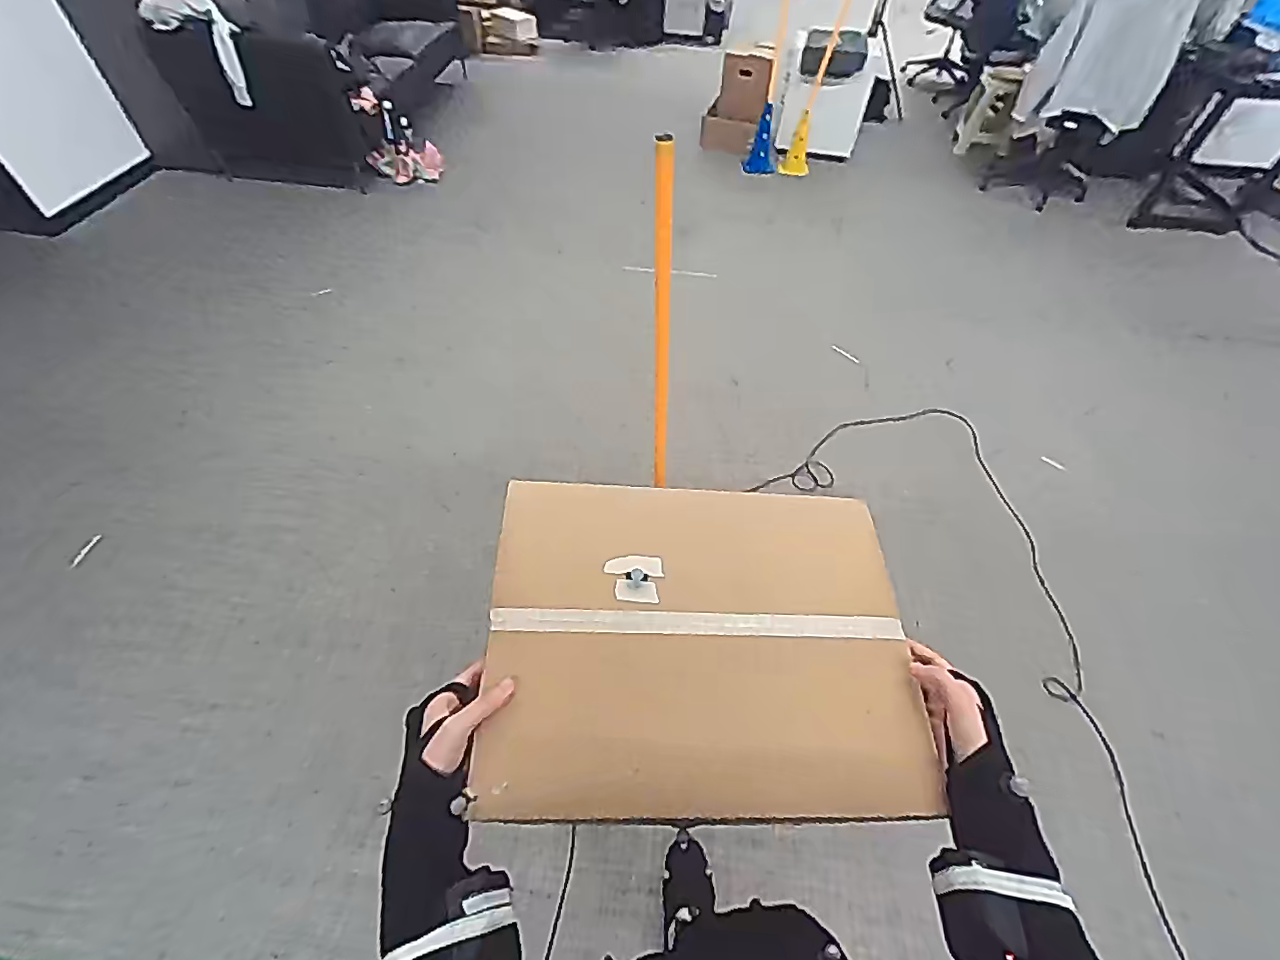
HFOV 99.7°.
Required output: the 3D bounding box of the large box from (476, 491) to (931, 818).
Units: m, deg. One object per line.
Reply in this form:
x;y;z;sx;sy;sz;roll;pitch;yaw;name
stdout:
0.046;0.224;0.661;0.408;0.320;0.320;2;57;-5;large box
